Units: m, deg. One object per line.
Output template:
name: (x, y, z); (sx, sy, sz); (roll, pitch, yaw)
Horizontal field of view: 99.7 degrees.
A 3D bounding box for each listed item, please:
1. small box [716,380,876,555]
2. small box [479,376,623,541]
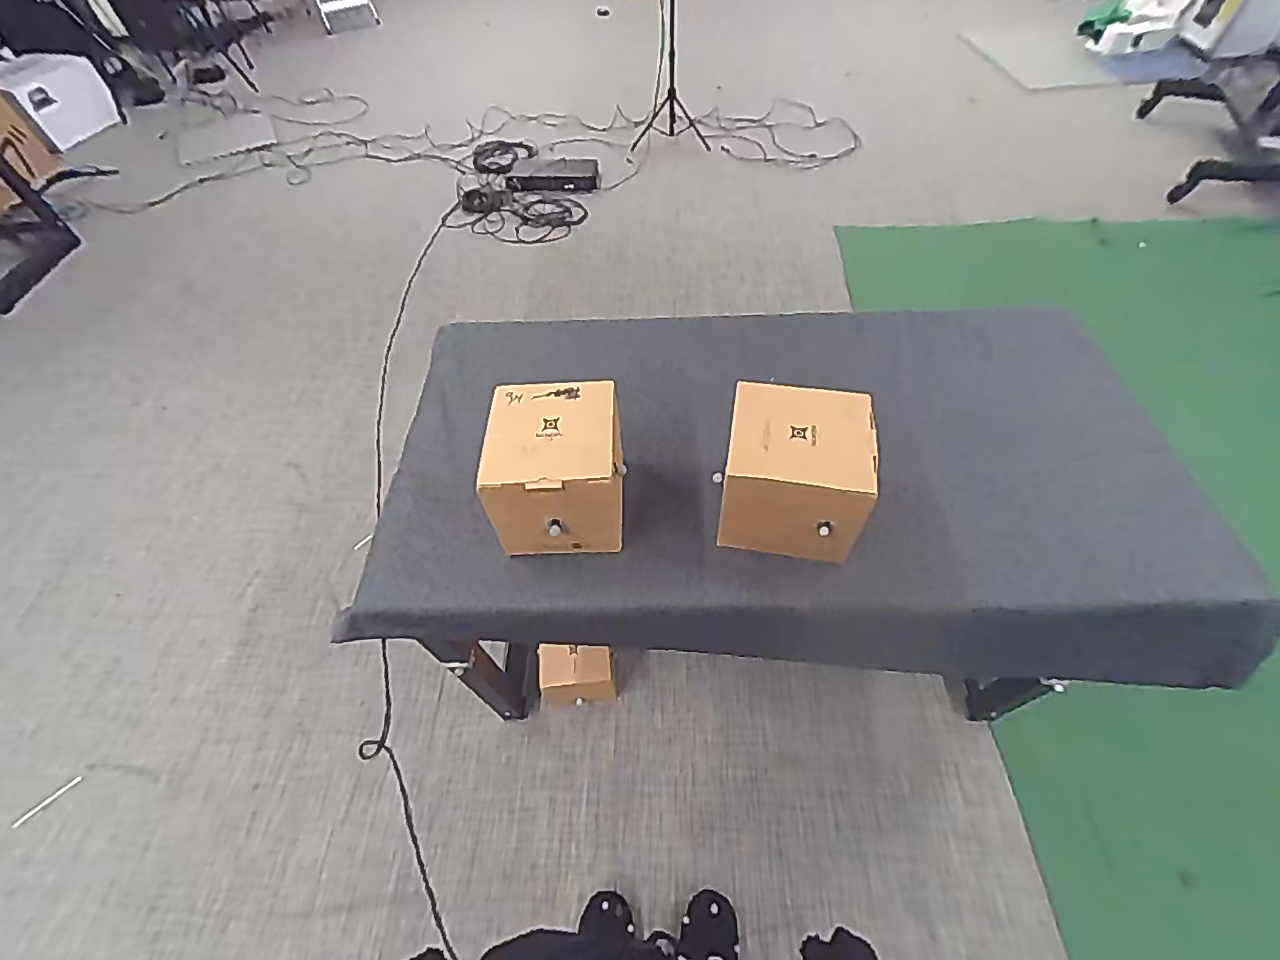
small box: (0.205, -0.013, 0.743); (0.179, 0.176, 0.168); (7, 54, 9)
small box: (-0.111, -0.024, 0.761); (0.168, 0.176, 0.179); (-1, 54, 1)
